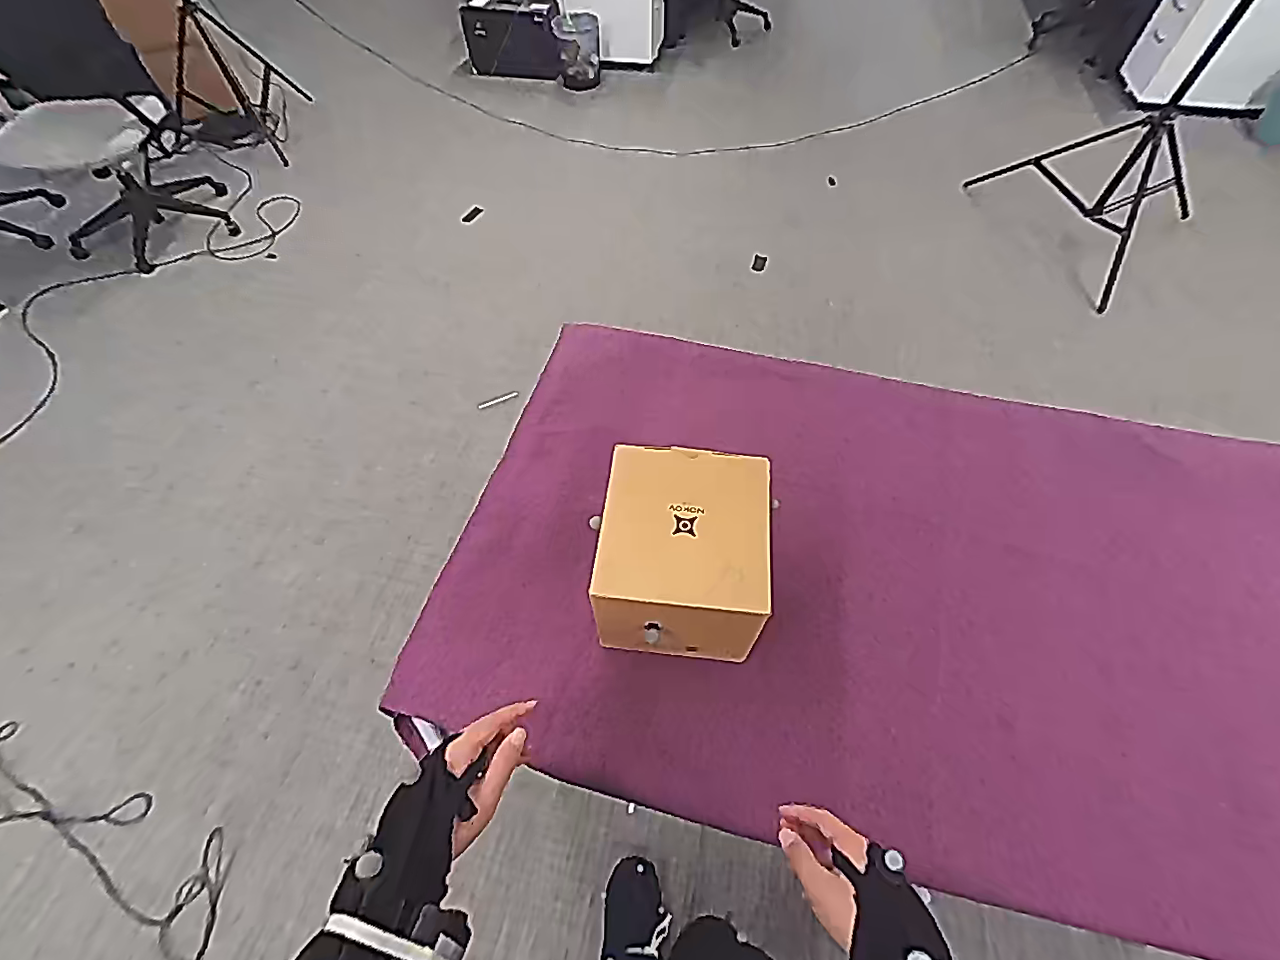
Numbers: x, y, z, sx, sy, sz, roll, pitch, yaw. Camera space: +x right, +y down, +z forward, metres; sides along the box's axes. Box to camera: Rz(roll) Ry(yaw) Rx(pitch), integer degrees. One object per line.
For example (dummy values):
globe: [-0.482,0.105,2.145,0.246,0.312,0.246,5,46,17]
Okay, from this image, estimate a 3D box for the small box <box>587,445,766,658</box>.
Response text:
small box: [0.044,0.084,0.599,0.168,0.176,0.179,5,56,4]
